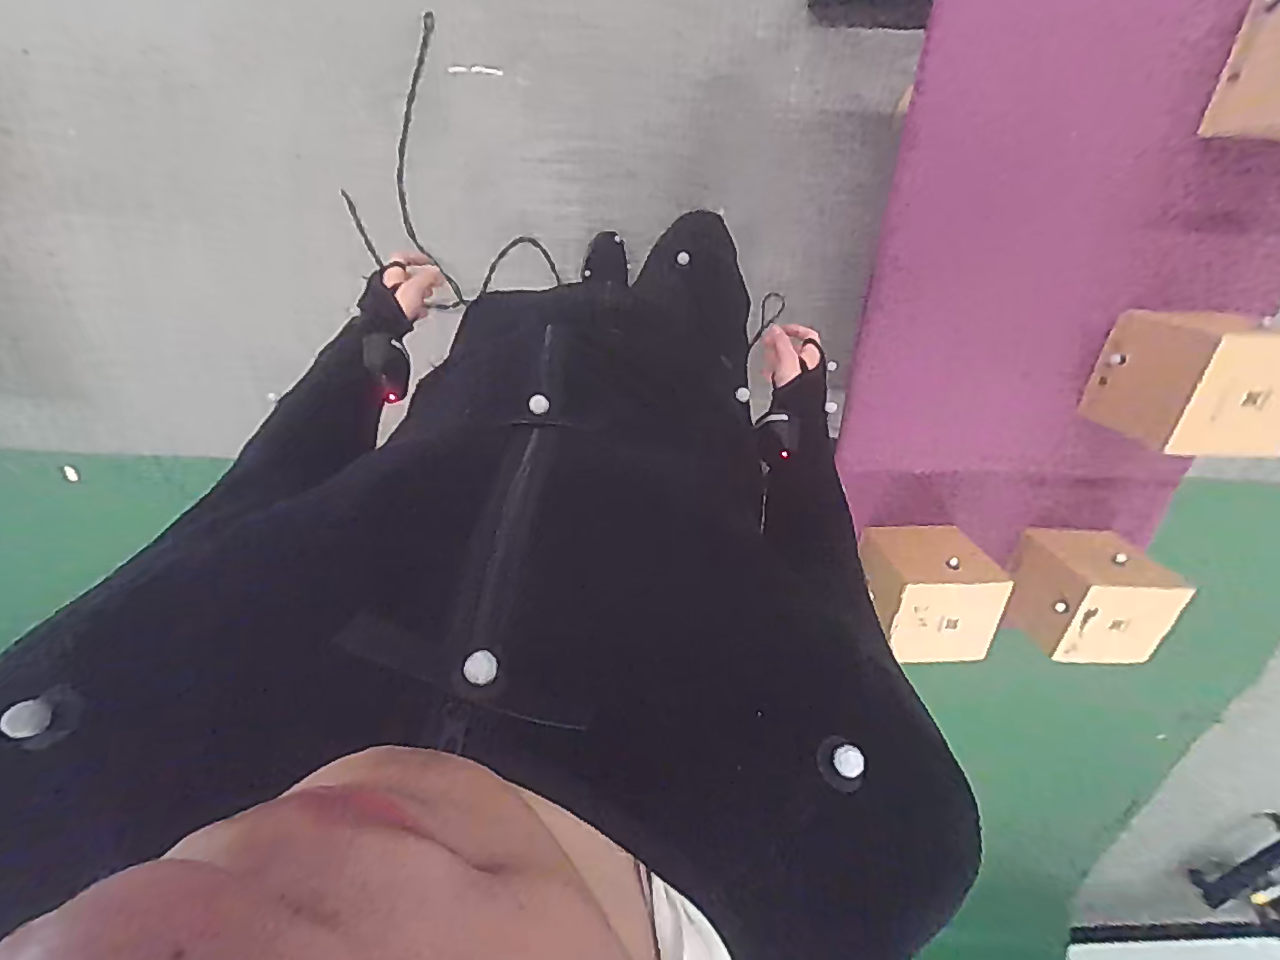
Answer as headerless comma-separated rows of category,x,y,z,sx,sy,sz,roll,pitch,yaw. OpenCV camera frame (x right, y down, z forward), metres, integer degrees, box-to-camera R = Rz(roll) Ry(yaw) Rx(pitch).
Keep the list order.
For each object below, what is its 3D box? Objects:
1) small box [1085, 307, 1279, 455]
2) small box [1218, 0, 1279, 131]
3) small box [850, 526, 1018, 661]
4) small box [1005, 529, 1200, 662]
small box,0.806,-0.146,0.770,0.179,0.176,0.168,2,117,-2
small box,0.816,-0.484,0.586,0.179,0.176,0.168,0,118,-2
small box,0.493,0.191,0.936,0.179,0.176,0.168,0,117,-1
small box,0.789,0.199,0.953,0.179,0.176,0.168,2,117,-3
